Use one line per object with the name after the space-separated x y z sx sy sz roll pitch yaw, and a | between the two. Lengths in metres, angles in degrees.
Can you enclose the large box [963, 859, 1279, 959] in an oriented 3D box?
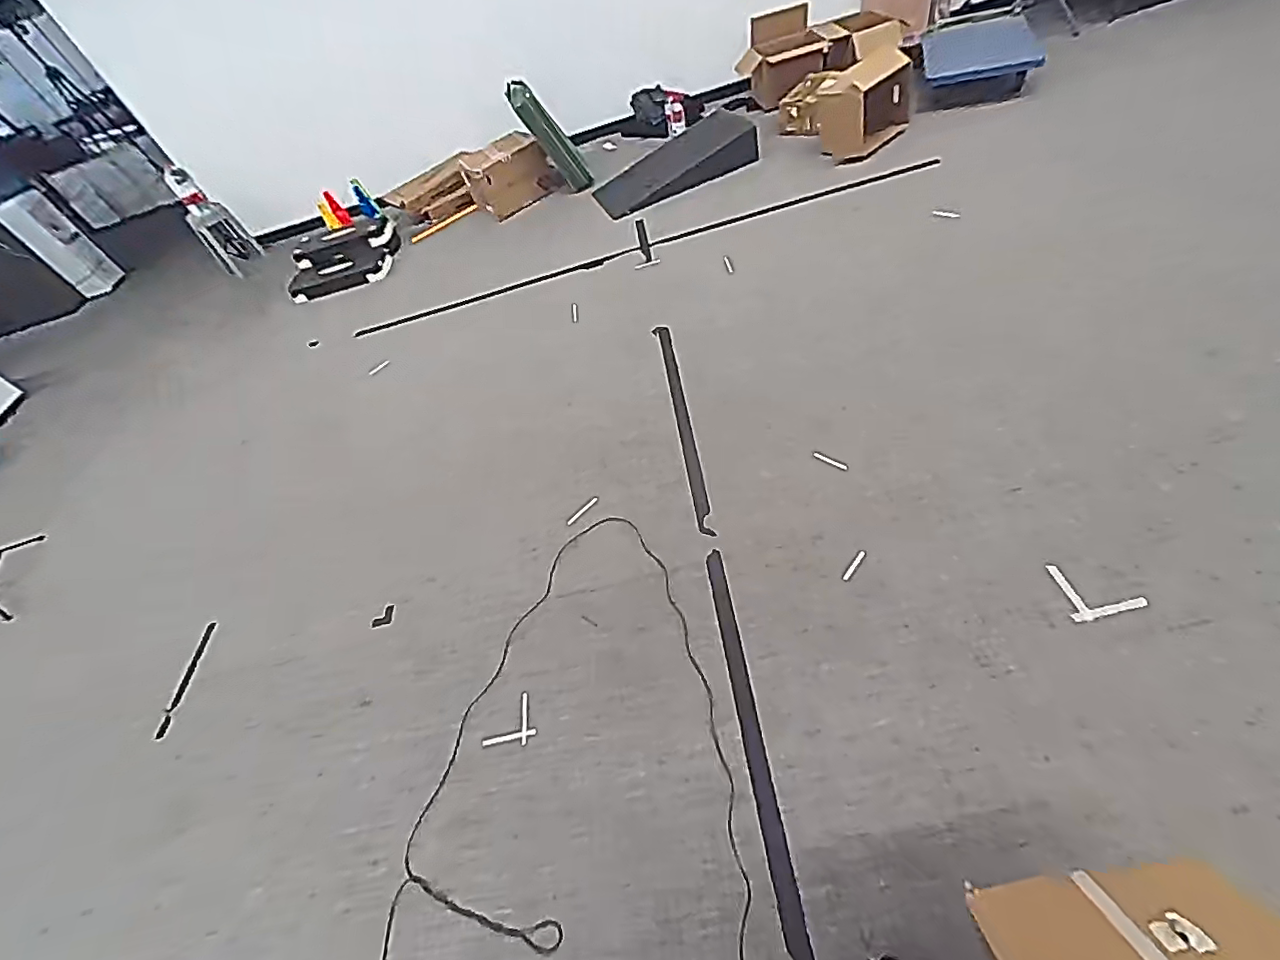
0.628 0.700 0.564 0.320 0.408 0.320 -18 81 9 | large box
